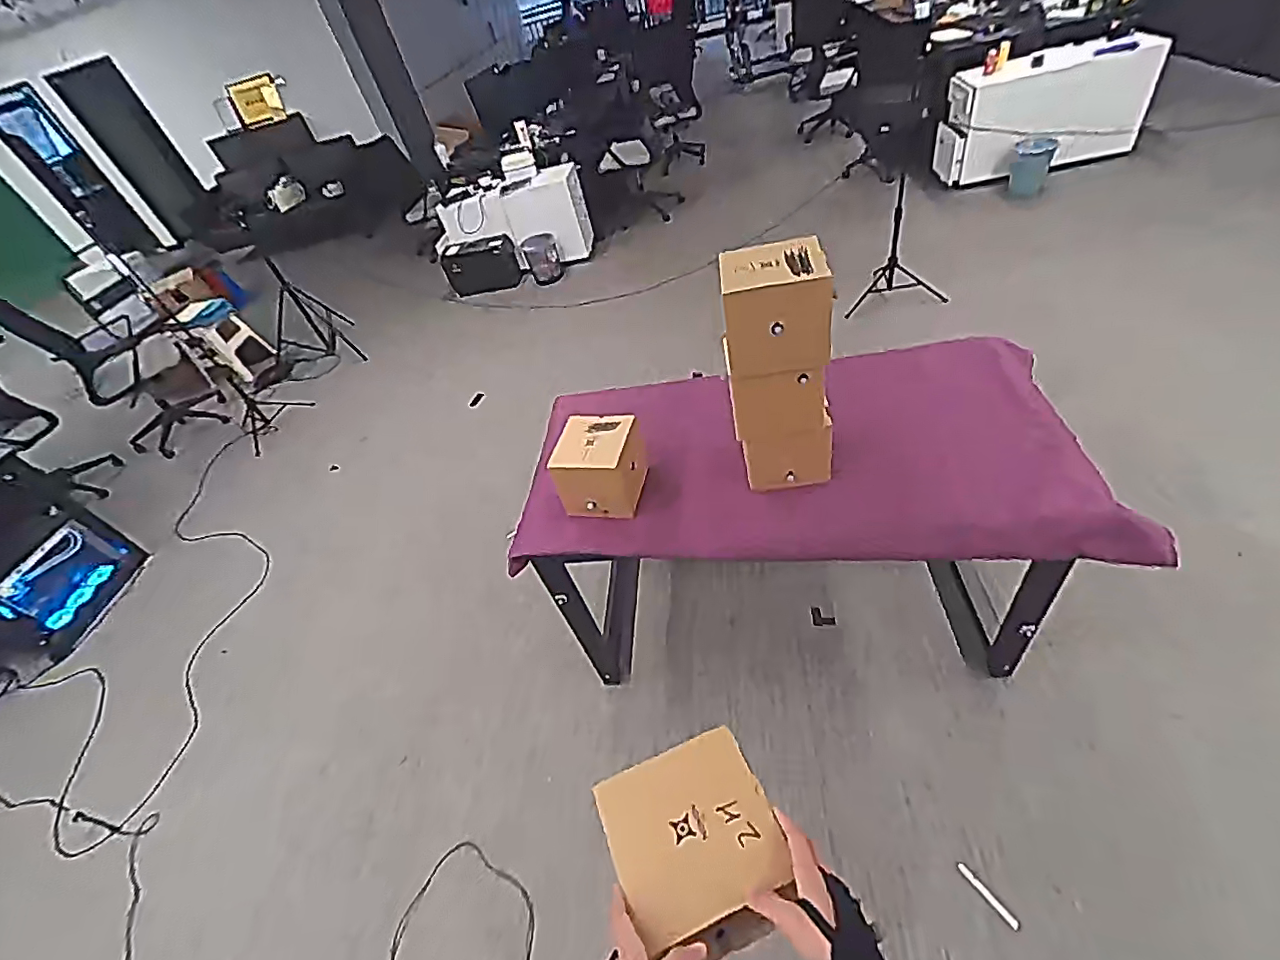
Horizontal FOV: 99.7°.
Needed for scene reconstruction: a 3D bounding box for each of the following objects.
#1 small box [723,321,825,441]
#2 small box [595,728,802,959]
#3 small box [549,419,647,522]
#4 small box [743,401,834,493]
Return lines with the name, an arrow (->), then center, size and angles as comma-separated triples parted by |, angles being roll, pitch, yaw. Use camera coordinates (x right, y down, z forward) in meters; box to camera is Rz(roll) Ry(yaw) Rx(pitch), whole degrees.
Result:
small box -> 0.269, -0.194, 1.089 | 0.179, 0.176, 0.168 | -7, 44, 10
small box -> 0.067, 0.429, 0.618 | 0.179, 0.176, 0.168 | -20, 40, -10
small box -> -0.087, -0.024, 1.263 | 0.168, 0.176, 0.179 | 1, 47, 18
small box -> 0.322, -0.089, 1.204 | 0.179, 0.176, 0.168 | -7, 43, 9
